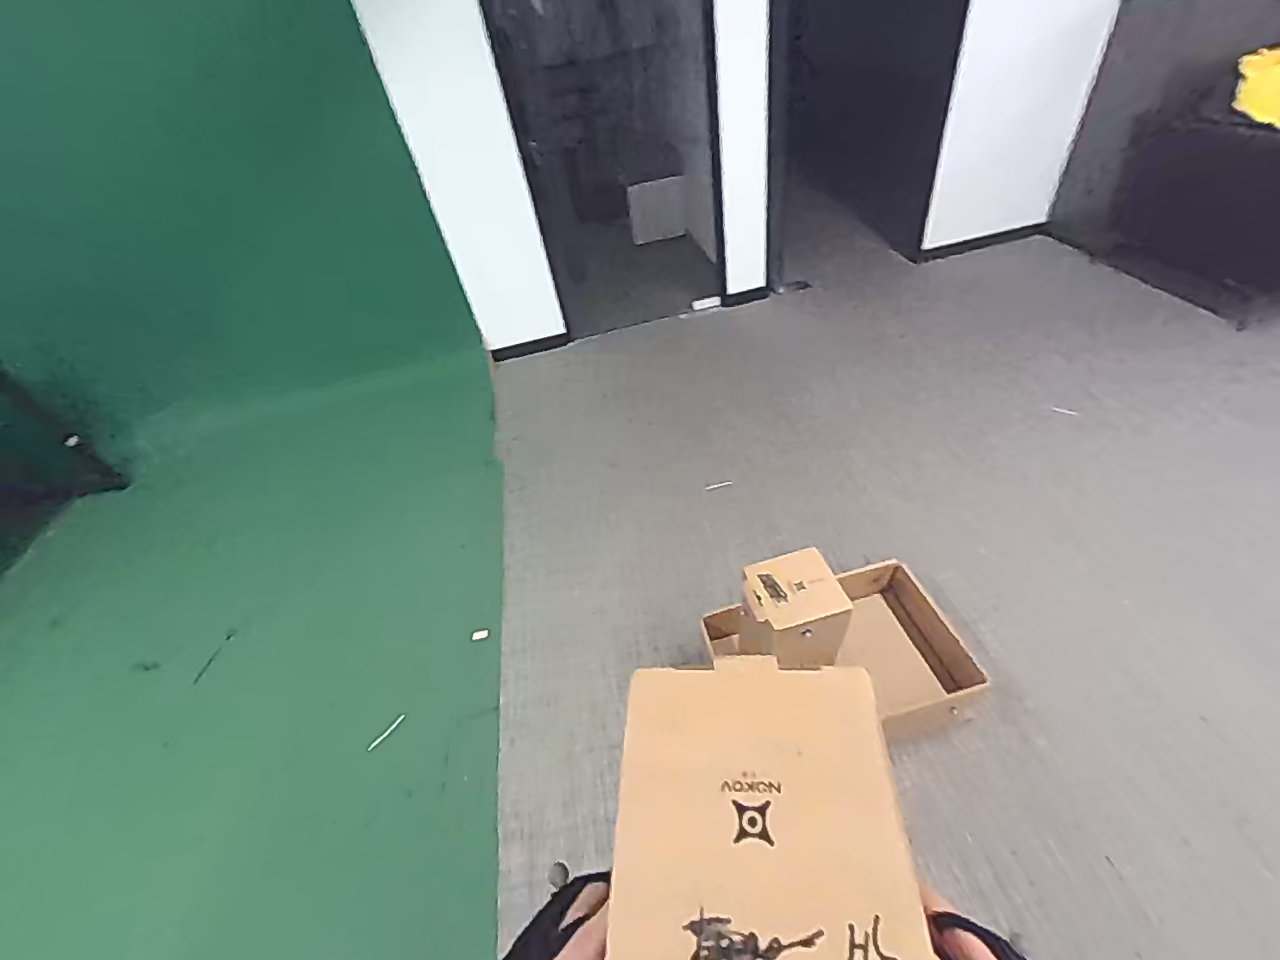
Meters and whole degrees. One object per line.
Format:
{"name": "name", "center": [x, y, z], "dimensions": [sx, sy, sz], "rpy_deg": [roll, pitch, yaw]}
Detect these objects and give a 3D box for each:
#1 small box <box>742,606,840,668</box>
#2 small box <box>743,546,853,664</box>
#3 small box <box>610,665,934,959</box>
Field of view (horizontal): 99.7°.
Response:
{"name": "small box", "center": [0.358, 0.392, 1.304], "dimensions": [0.179, 0.176, 0.168], "rpy_deg": [-16, 45, -5]}
{"name": "small box", "center": [0.339, 0.278, 1.188], "dimensions": [0.179, 0.176, 0.168], "rpy_deg": [-16, 45, -5]}
{"name": "small box", "center": [0.088, 0.252, 0.381], "dimensions": [0.168, 0.176, 0.179], "rpy_deg": [-5, 43, 13]}
